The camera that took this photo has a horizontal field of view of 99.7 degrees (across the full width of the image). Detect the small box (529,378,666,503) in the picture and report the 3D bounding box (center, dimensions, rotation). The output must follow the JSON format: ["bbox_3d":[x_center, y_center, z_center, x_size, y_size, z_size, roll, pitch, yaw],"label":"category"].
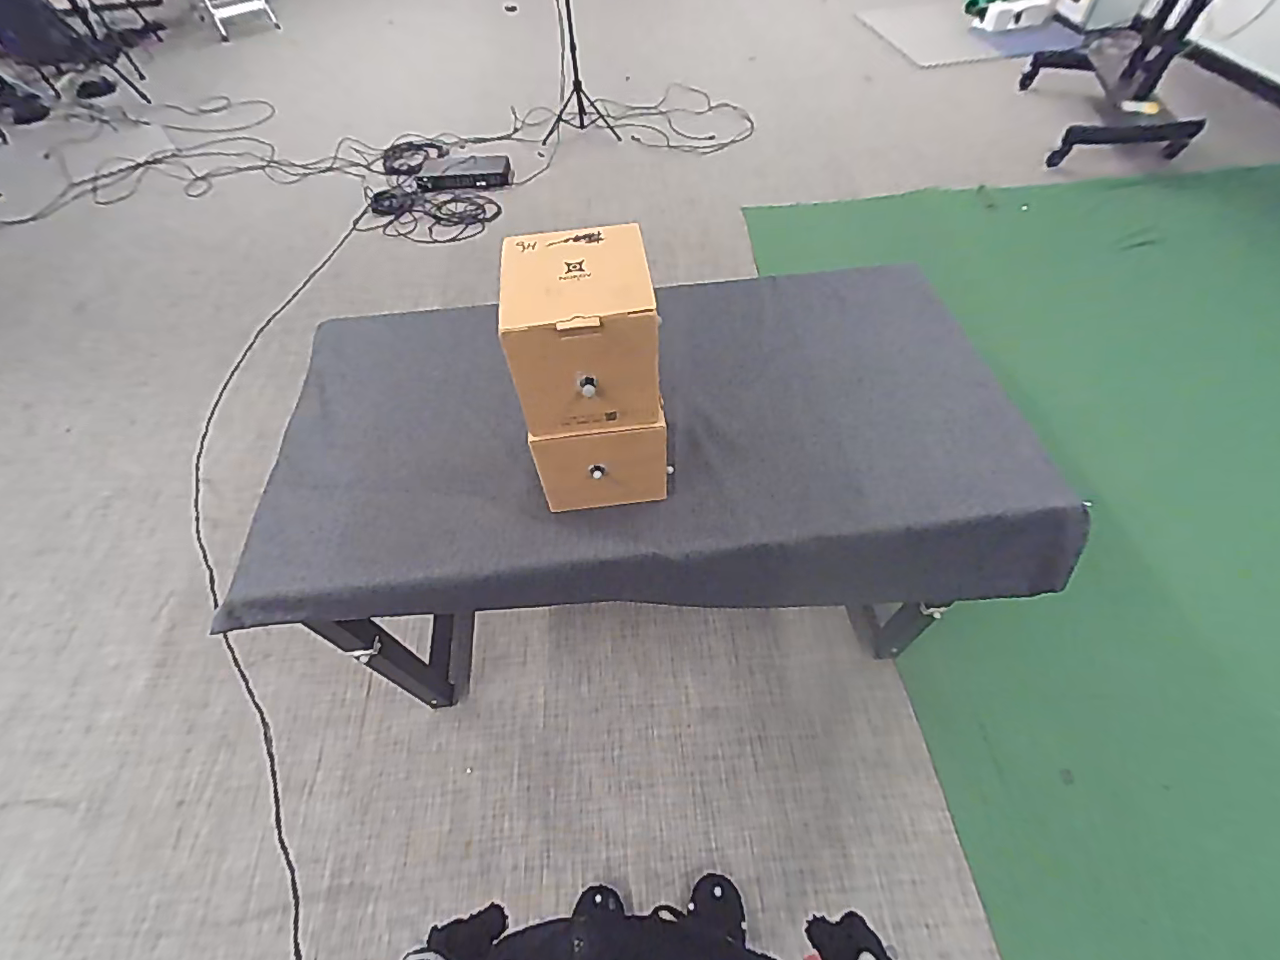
[{"bbox_3d":[-0.058,-0.083,0.788,0.179,0.176,0.168,-7,55,-1],"label":"small box"}]

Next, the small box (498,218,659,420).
[{"bbox_3d":[-0.068,-0.188,0.662,0.168,0.176,0.179,-7,55,-2],"label":"small box"}]
